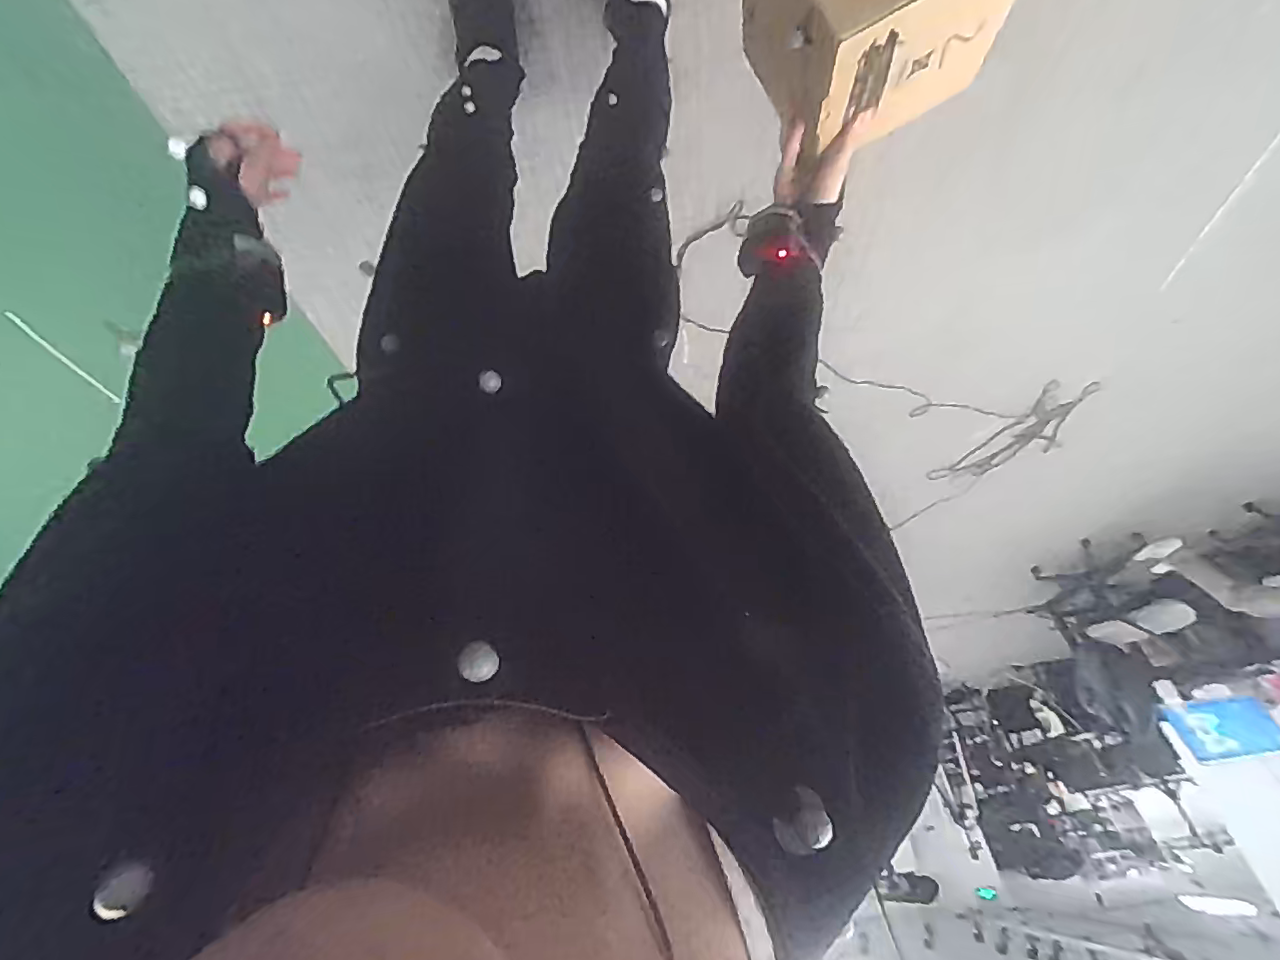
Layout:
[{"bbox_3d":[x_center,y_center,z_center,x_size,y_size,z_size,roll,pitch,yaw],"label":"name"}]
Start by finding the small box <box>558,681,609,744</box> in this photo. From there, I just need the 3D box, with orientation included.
[{"bbox_3d":[-0.200,0.817,1.908,0.168,0.176,0.179,-5,144,-5],"label":"small box"}]
